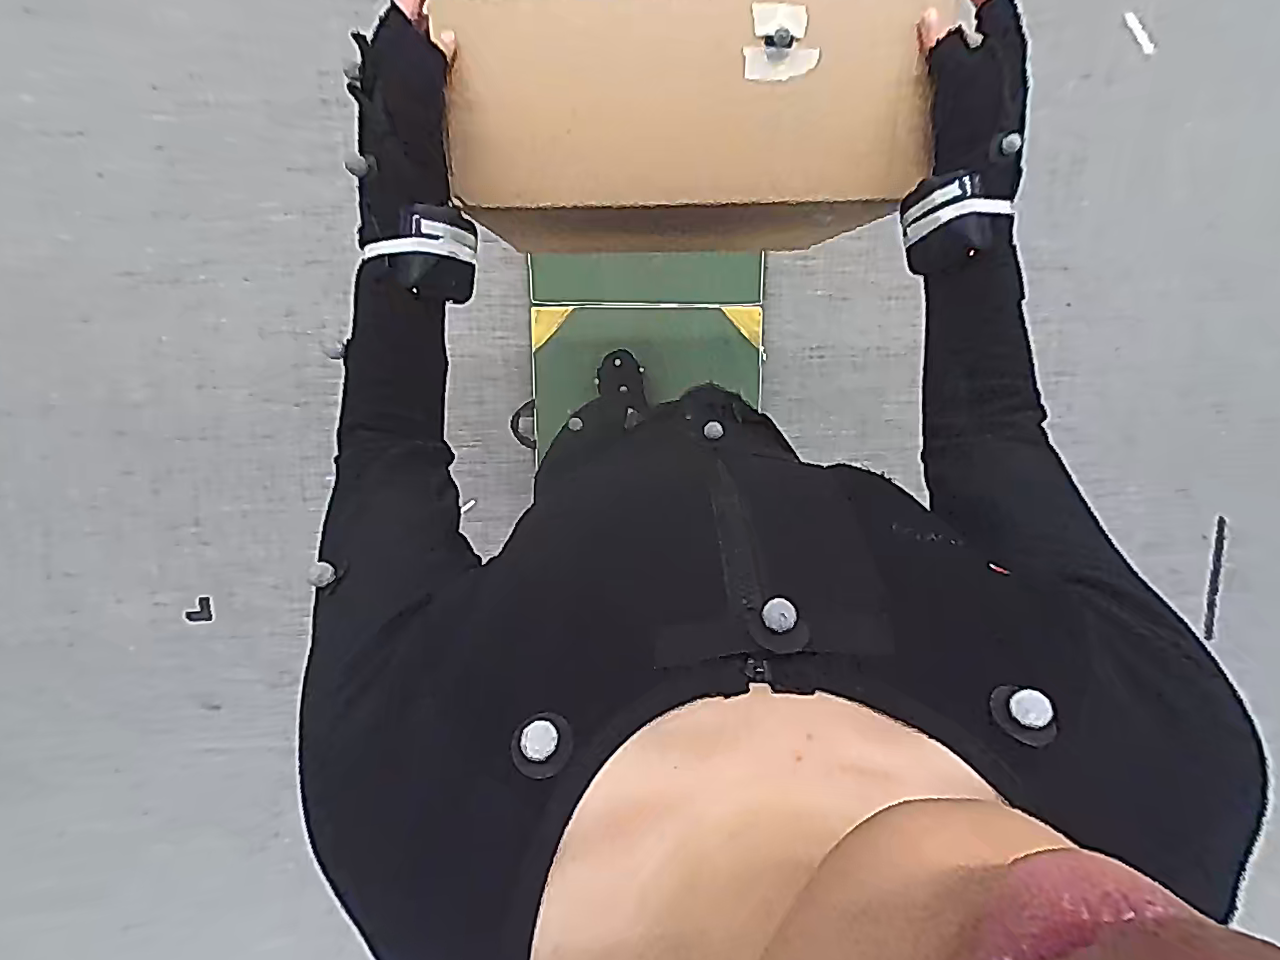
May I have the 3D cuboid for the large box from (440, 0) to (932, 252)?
[{"bbox_3d":[0.030,-0.434,0.570,0.408,0.320,0.320,-3,106,-3],"label":"large box"}]
